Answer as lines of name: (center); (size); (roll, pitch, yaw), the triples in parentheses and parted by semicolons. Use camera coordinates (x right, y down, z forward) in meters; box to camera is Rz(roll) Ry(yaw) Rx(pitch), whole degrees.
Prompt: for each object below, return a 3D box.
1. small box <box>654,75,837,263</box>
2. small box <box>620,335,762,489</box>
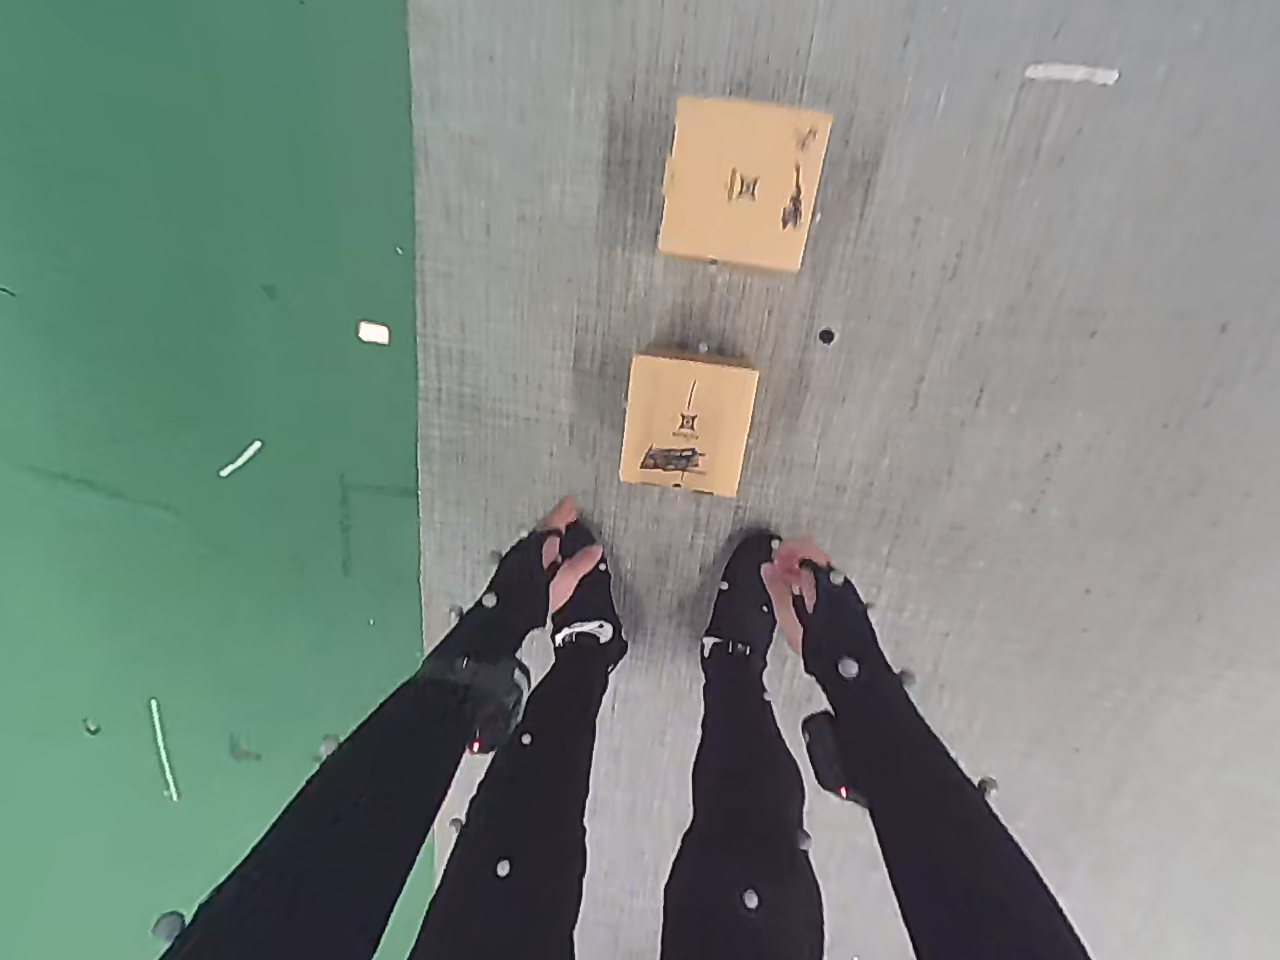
small box: (0.124, -0.374, 0.679); (0.179, 0.176, 0.168); (10, 110, 5)
small box: (0.073, -0.106, 0.776); (0.168, 0.176, 0.179); (8, 109, 4)
